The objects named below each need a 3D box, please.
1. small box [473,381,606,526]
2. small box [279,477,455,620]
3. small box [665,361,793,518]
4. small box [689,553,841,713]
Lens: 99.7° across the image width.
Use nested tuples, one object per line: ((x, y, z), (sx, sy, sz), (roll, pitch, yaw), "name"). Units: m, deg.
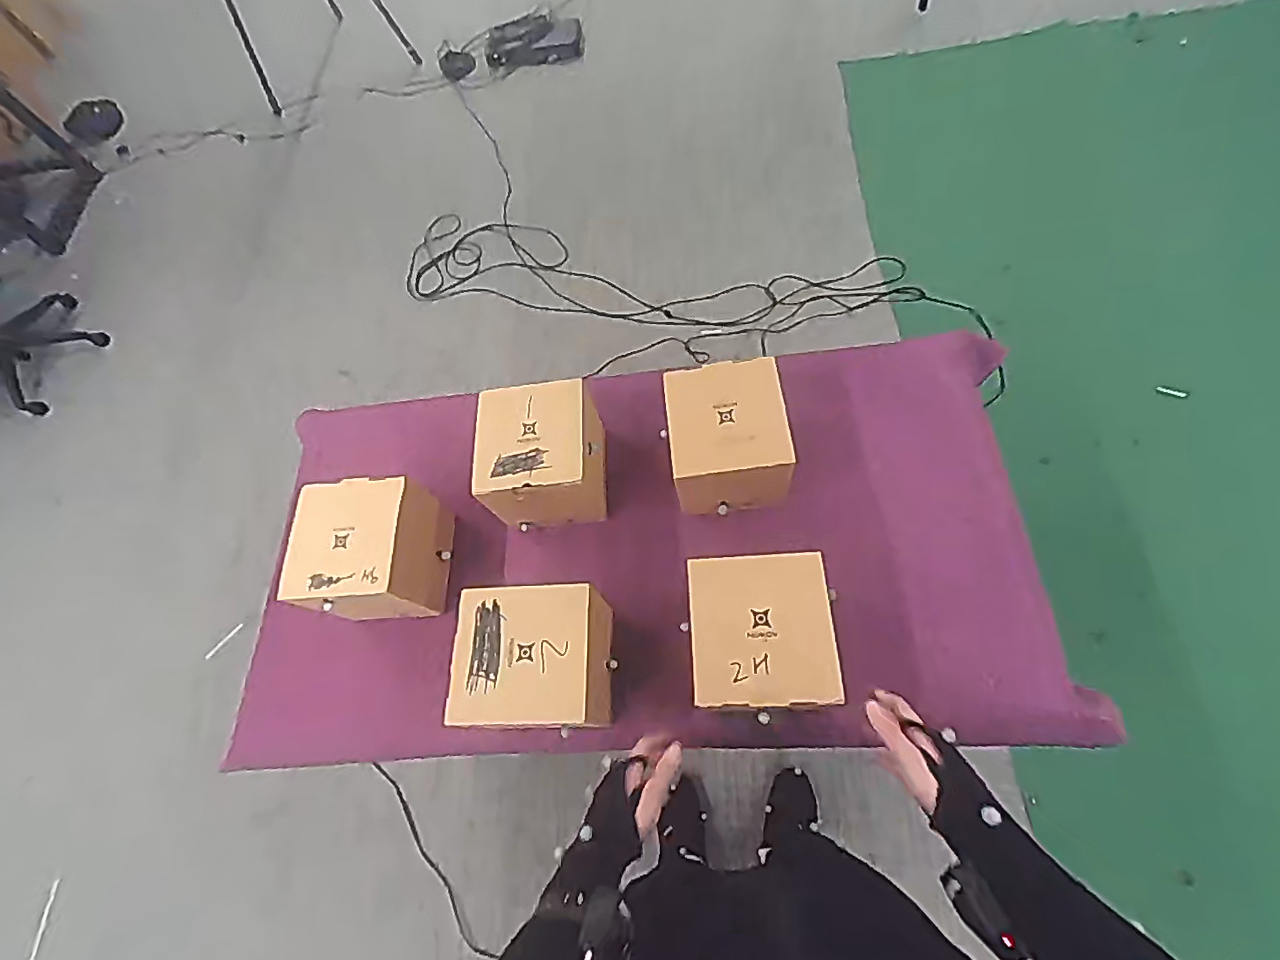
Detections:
((-0.150, -0.032, 0.868), (0.168, 0.176, 0.179), (-6, 65, 7), "small box")
((-0.408, 0.112, 0.843), (0.168, 0.176, 0.179), (-5, 65, 8), "small box")
((0.132, -0.055, 0.834), (0.168, 0.176, 0.179), (-7, 66, 7), "small box")
((0.152, 0.207, 0.709), (0.168, 0.176, 0.179), (-4, 64, 8), "small box")
